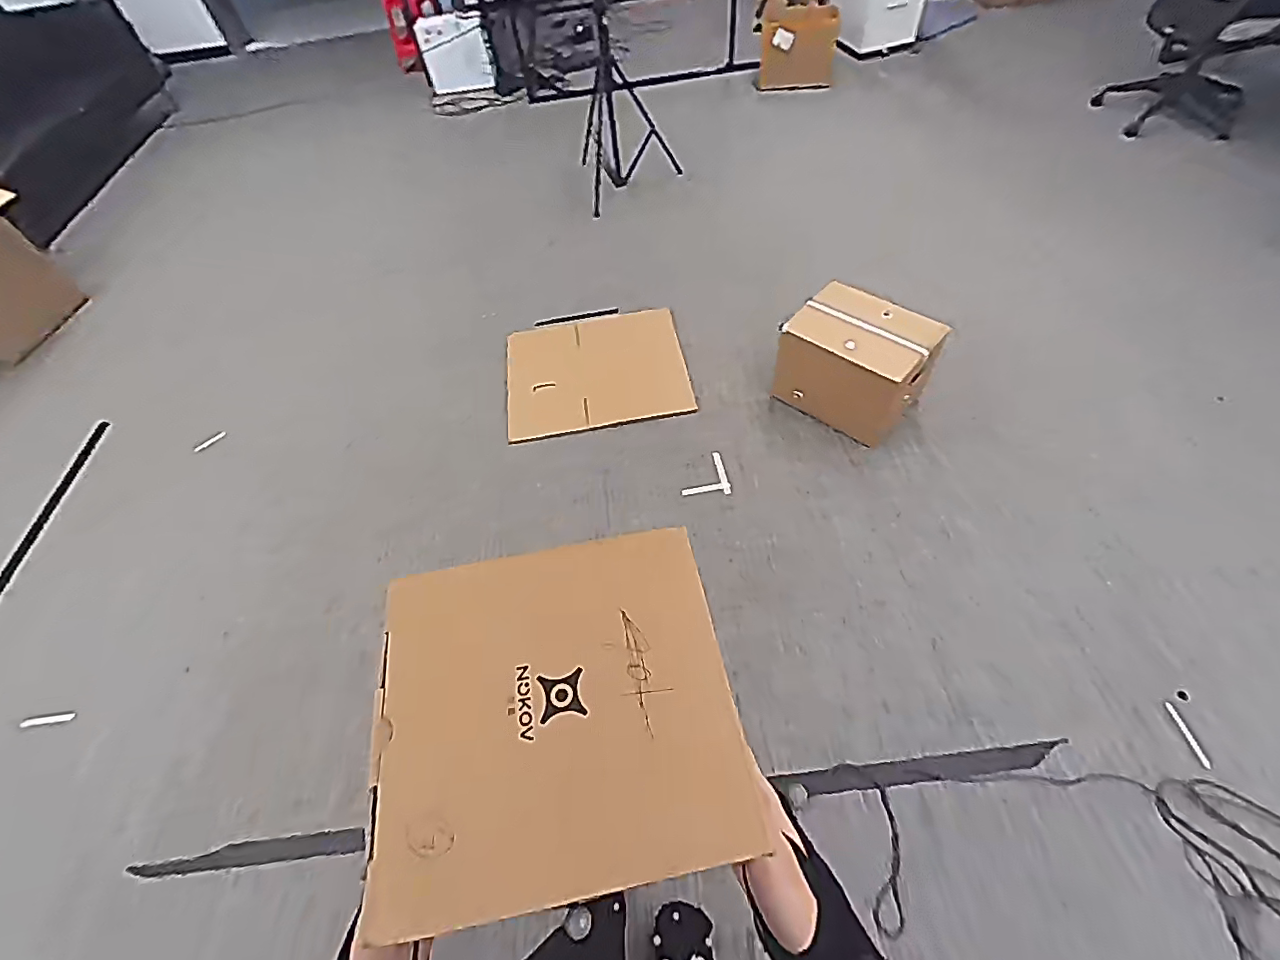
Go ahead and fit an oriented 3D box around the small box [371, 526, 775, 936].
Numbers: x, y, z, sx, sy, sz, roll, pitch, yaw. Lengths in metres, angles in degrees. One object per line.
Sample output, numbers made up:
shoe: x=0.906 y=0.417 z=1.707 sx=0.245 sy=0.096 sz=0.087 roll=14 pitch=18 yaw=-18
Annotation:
small box: x=-0.036 y=0.152 z=0.336 sx=0.179 sy=0.176 sz=0.168 roll=-10 pitch=56 yaw=-5
